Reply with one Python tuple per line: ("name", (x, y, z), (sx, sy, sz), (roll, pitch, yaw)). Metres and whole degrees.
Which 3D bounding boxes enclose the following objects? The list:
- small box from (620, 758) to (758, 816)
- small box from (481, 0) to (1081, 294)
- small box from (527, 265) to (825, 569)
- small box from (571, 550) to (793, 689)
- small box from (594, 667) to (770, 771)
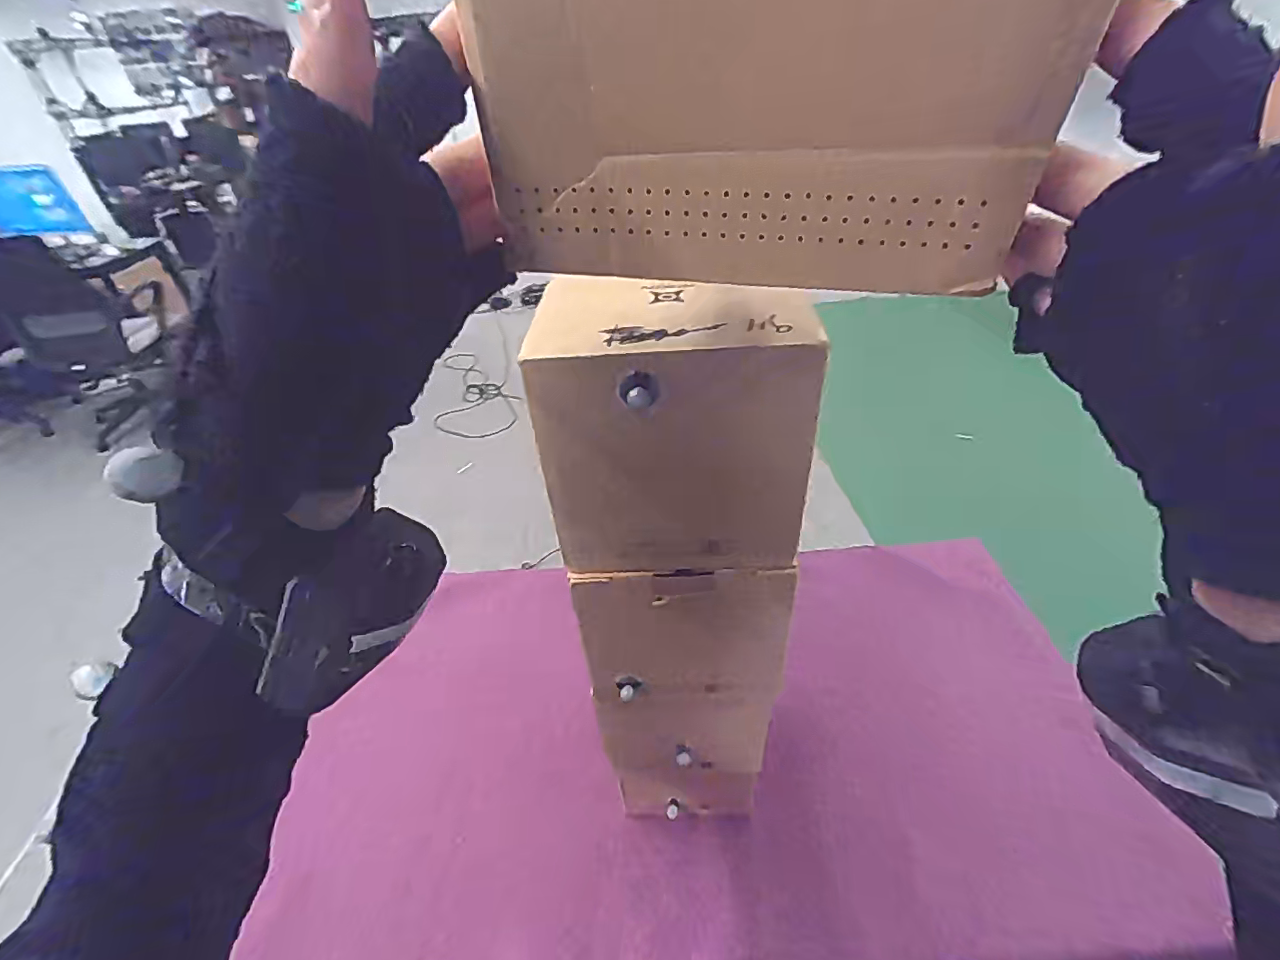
("small box", (0.059, 0.319, 0.723), (0.168, 0.176, 0.179), (-2, 39, 3))
("small box", (0.047, -0.184, 0.202), (0.179, 0.176, 0.168), (7, 45, 9))
("small box", (0.026, -0.054, 0.405), (0.168, 0.176, 0.179), (-2, 37, 4))
("small box", (0.038, 0.077, 0.502), (0.168, 0.176, 0.179), (-3, 37, 3))
("small box", (0.044, 0.201, 0.610), (0.168, 0.176, 0.179), (-4, 38, 3))
